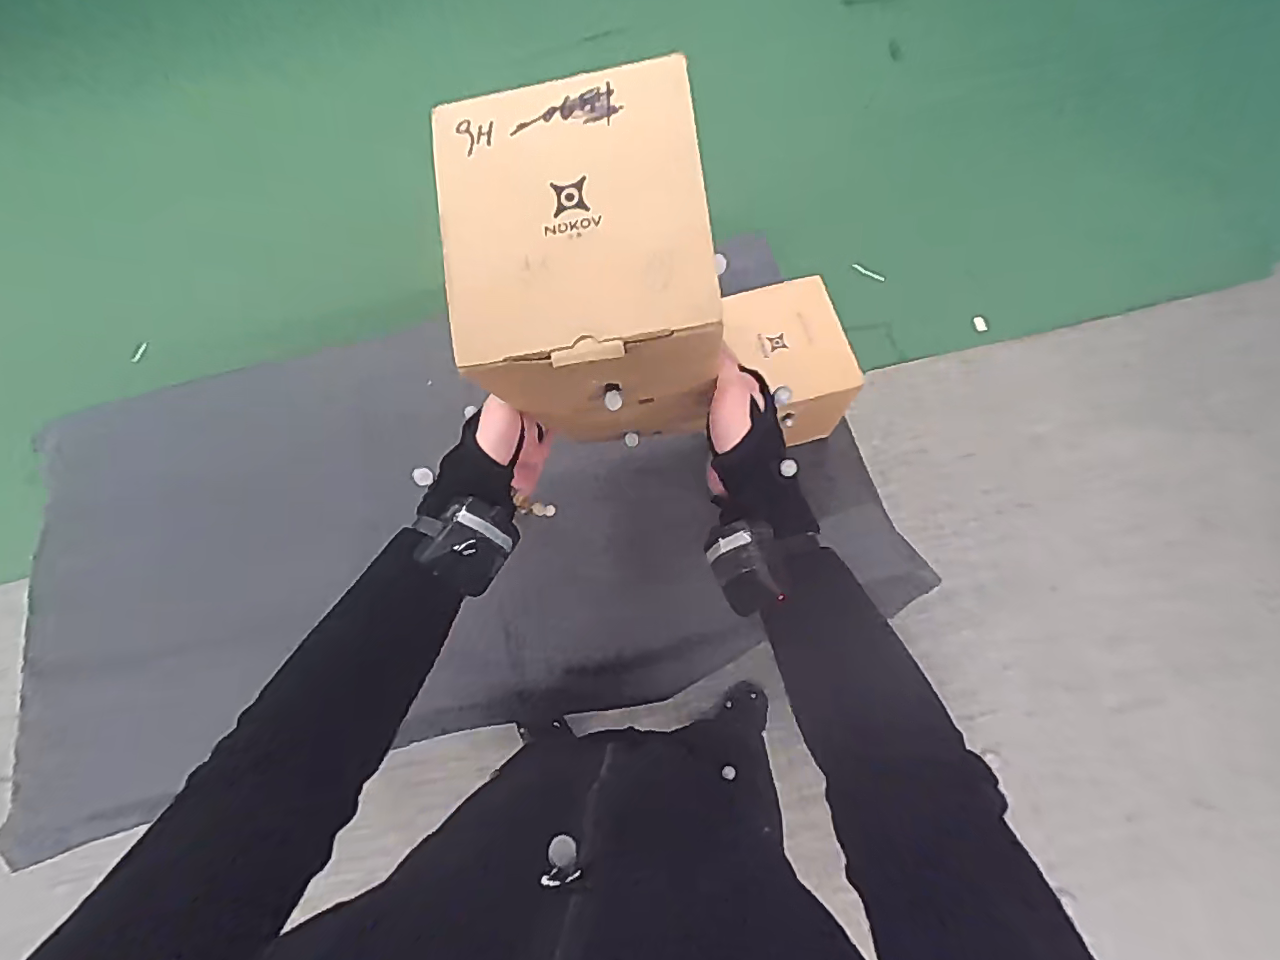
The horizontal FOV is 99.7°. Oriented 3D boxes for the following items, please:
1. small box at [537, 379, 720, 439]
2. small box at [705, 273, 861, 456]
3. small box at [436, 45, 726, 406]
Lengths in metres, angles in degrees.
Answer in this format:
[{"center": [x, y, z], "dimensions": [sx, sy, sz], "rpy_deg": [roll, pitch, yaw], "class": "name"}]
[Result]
[{"center": [-0.010, -0.148, 0.566], "dimensions": [0.168, 0.176, 0.179], "rpy_deg": [-6, 85, 7], "class": "small box"}, {"center": [0.168, -0.147, 0.743], "dimensions": [0.179, 0.176, 0.168], "rpy_deg": [-14, 73, -2], "class": "small box"}, {"center": [-0.028, -0.159, 0.404], "dimensions": [0.168, 0.176, 0.179], "rpy_deg": [-8, 85, 6], "class": "small box"}]
